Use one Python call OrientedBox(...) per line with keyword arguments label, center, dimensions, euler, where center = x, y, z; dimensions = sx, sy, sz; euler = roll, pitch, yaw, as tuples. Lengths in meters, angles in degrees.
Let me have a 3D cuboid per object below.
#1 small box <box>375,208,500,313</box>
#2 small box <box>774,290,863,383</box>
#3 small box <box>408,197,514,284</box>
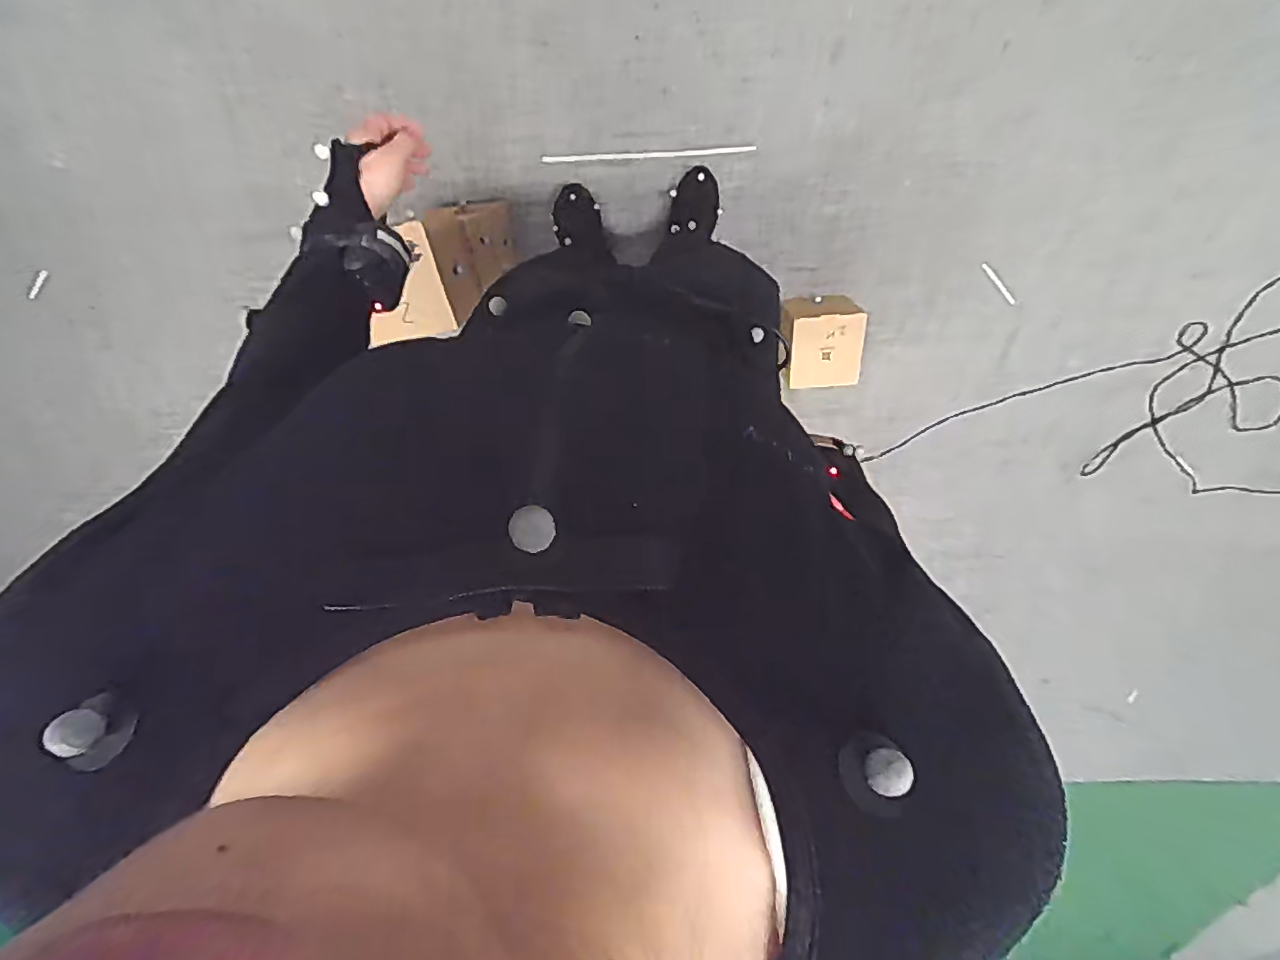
OrientedBox(label="small box", center=(-0.397, -0.451, 1.104), dimensions=(0.179, 0.176, 0.168), euler=(-5, 120, 6))
OrientedBox(label="small box", center=(0.430, -0.355, 1.331), dimensions=(0.168, 0.176, 0.179), euler=(-4, 122, 3))
OrientedBox(label="small box", center=(-0.395, -0.546, 1.237), dimensions=(0.179, 0.176, 0.168), euler=(-3, 121, 3))
